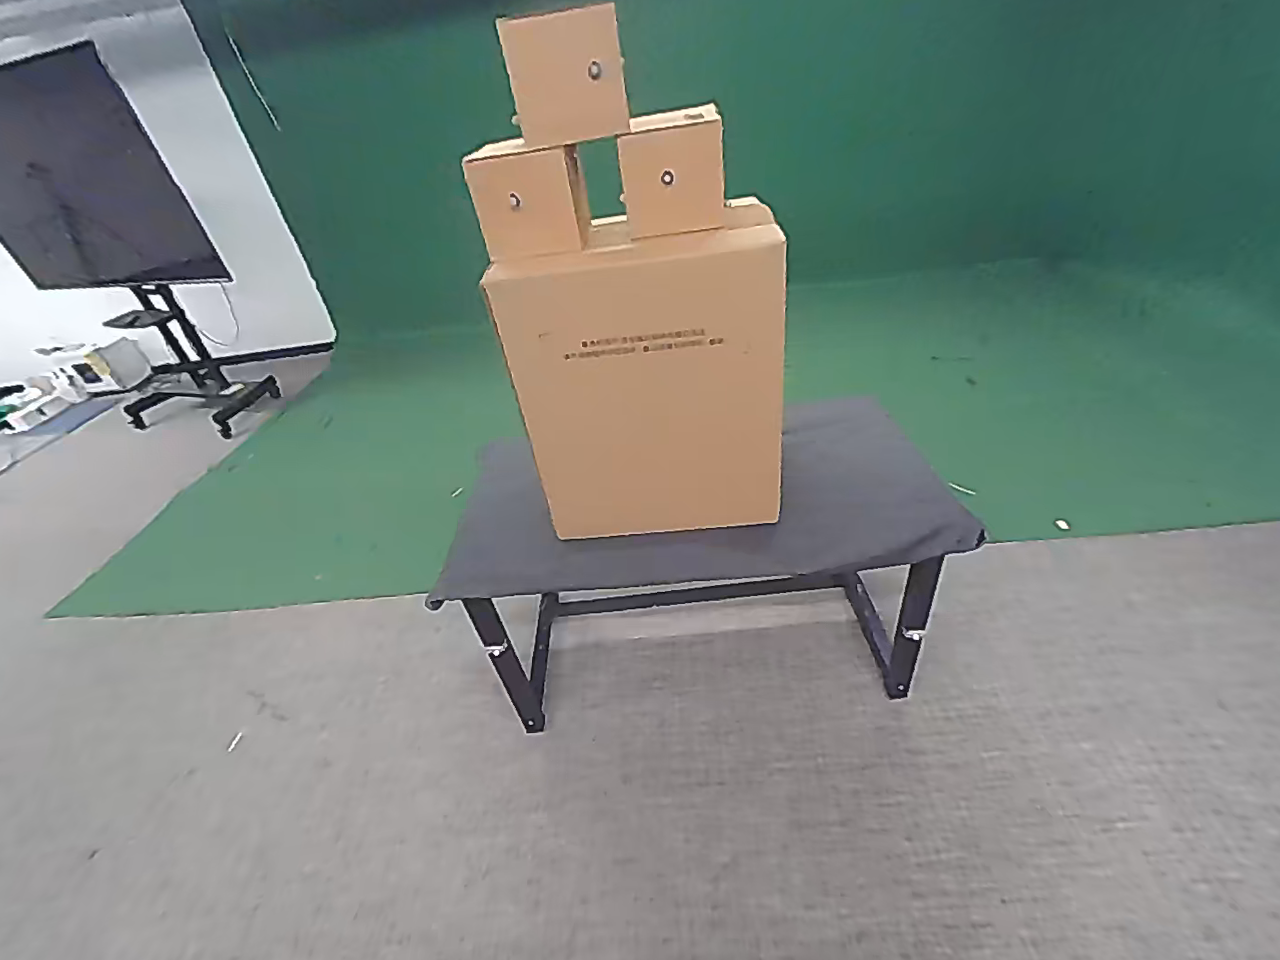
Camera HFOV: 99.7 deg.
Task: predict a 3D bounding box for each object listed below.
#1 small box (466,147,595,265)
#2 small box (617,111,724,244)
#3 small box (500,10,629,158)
[{"bbox_3d":[-0.192,-0.513,1.005,0.179,0.176,0.168,-4,40,7],"label":"small box"},{"bbox_3d":[0.063,-0.553,0.993,0.179,0.176,0.168,-5,40,8],"label":"small box"},{"bbox_3d":[-0.117,-0.651,0.896,0.179,0.176,0.168,-12,38,0],"label":"small box"}]
